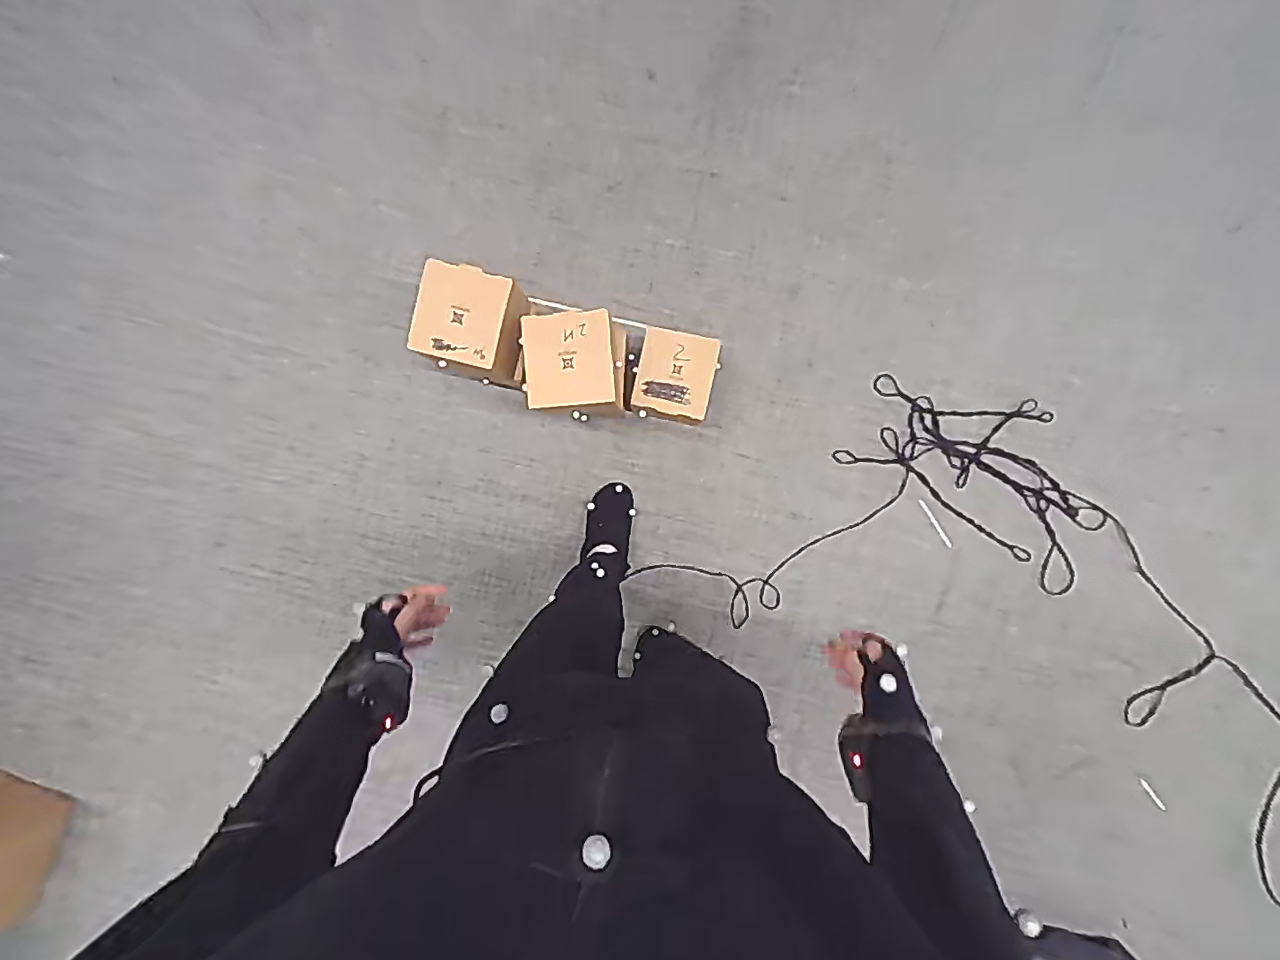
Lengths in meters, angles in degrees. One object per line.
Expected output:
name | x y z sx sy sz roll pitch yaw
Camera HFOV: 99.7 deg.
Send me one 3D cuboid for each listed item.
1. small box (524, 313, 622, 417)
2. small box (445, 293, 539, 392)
small box | -0.127 -0.220 1.080 0.168 0.176 0.179 -4 91 1
small box | -0.319 -0.307 1.243 0.179 0.176 0.168 13 91 1
